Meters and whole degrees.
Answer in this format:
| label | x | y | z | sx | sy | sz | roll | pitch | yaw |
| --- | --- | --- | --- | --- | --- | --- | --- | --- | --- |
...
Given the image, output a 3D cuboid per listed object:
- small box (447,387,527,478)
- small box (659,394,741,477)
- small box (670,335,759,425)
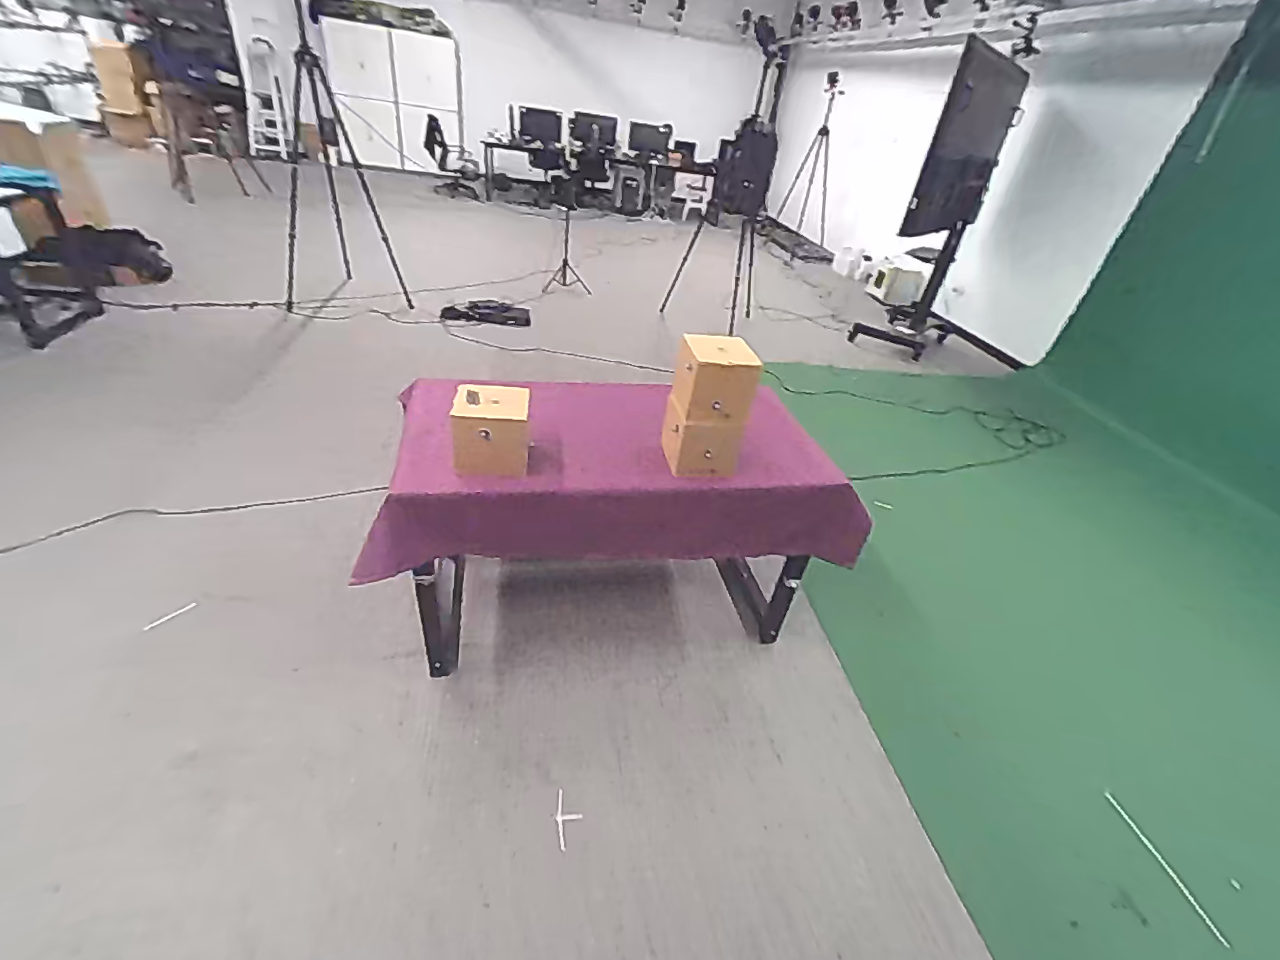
| label | x | y | z | sx | sy | sz | roll | pitch | yaw |
| --- | --- | --- | --- | --- | --- | --- | --- | --- | --- |
| small box | -0.377 | -0.118 | 1.355 | 0.179 | 0.176 | 0.168 | 2 | 36 | -11 |
| small box | 0.157 | -0.120 | 1.475 | 0.168 | 0.176 | 0.179 | 0 | 36 | -13 |
| small box | 0.182 | -0.256 | 1.388 | 0.168 | 0.176 | 0.179 | 0 | 37 | -13 |
